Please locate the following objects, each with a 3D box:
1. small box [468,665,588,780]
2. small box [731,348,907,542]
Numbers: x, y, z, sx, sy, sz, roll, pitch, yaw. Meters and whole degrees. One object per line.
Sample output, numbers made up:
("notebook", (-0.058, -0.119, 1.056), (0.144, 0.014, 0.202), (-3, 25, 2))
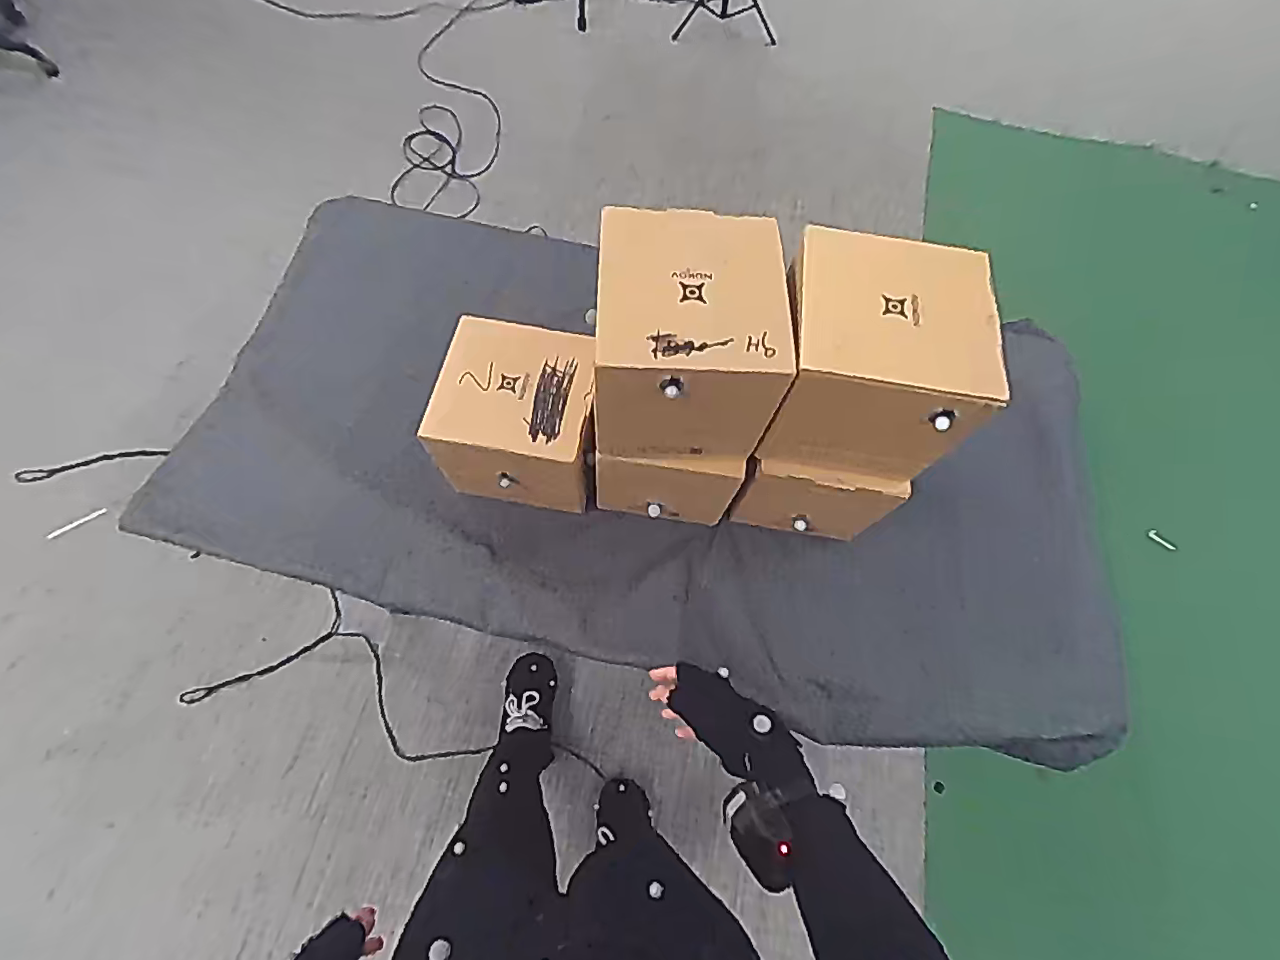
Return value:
("small box", (-0.253, 0.534, 1.204), (0.179, 0.176, 0.168), (38, 83, 28))
("small box", (0.218, -0.037, 0.692), (0.168, 0.176, 0.179), (10, 67, 2))
